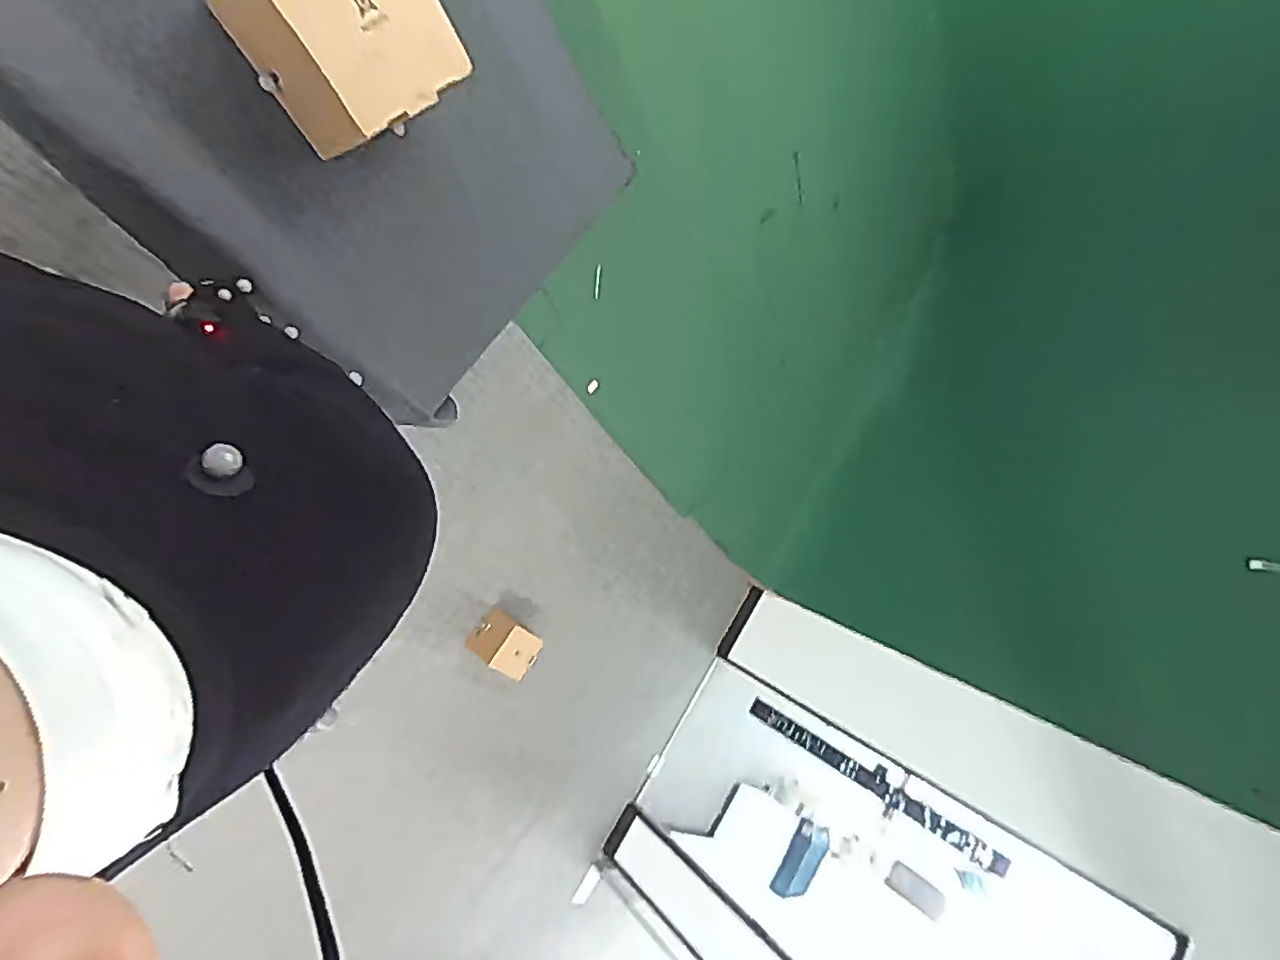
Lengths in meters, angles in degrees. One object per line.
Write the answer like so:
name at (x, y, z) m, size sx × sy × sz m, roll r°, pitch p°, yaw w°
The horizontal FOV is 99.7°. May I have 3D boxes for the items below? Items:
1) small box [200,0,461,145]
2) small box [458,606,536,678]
small box at (-0.348, -0.508, 0.613) m, size 0.168 × 0.176 × 0.179 m, roll -49°, pitch 135°, yaw -20°
small box at (-0.517, 0.582, 1.955) m, size 0.168 × 0.176 × 0.179 m, roll -55°, pitch 137°, yaw -17°
